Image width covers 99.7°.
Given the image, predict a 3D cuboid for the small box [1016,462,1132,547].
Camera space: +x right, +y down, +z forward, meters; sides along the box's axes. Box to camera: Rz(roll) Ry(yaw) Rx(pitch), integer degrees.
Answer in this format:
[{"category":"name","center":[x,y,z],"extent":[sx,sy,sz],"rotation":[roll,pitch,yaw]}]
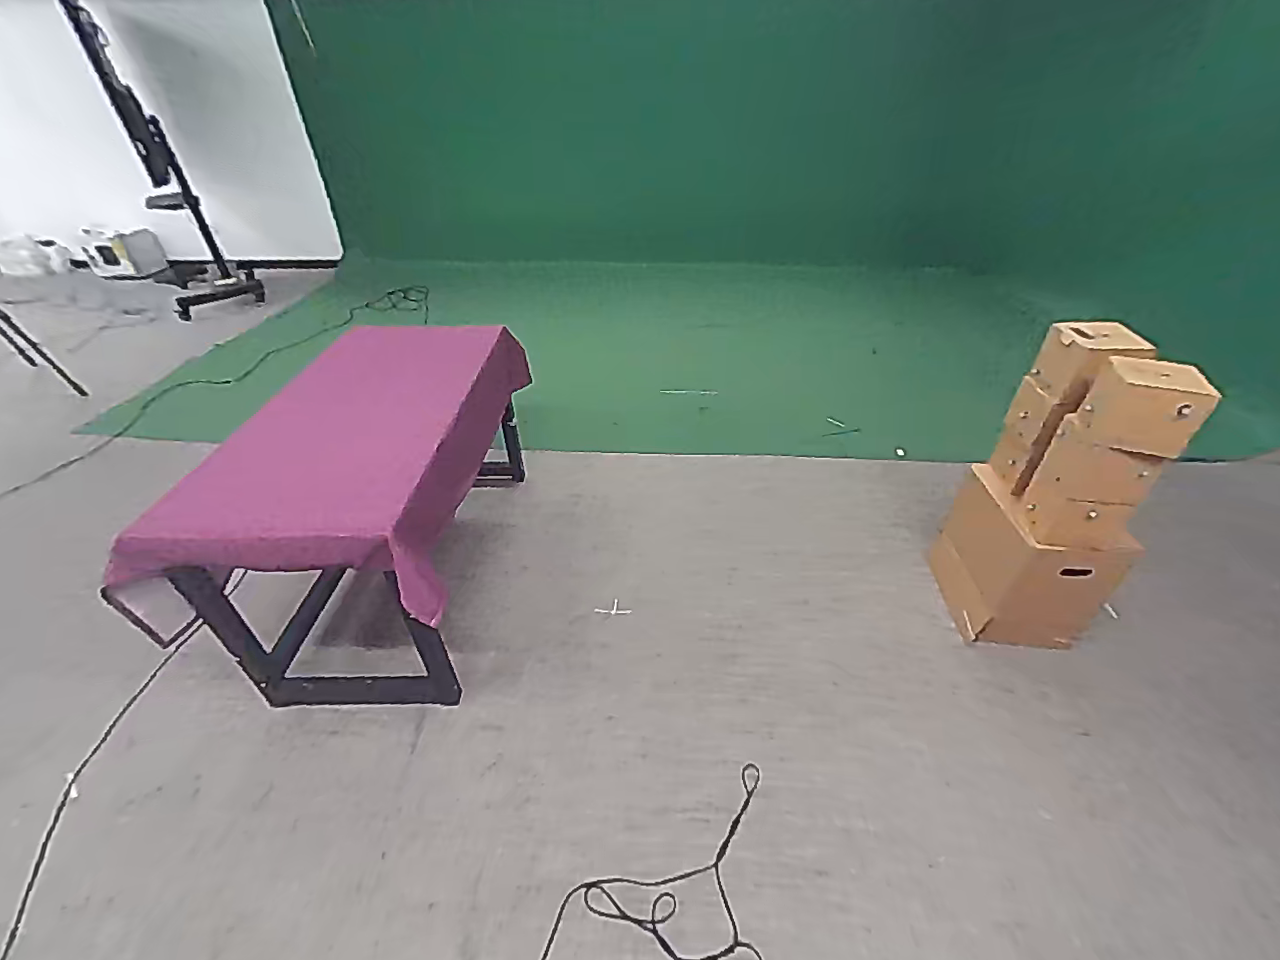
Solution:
[{"category":"small box","center":[1.209,0.071,1.523],"extent":[0.179,0.176,0.168],"rotation":[5,37,9]}]

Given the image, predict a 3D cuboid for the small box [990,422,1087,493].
[{"category":"small box","center":[1.242,-0.069,1.709],"extent":[0.179,0.176,0.168],"rotation":[2,39,5]}]

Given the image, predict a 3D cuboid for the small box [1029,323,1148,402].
[{"category":"small box","center":[1.229,-0.325,1.505],"extent":[0.179,0.176,0.168],"rotation":[1,39,3]}]

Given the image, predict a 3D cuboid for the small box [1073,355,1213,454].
[{"category":"small box","center":[1.204,-0.182,1.311],"extent":[0.179,0.176,0.168],"rotation":[13,39,18]}]
